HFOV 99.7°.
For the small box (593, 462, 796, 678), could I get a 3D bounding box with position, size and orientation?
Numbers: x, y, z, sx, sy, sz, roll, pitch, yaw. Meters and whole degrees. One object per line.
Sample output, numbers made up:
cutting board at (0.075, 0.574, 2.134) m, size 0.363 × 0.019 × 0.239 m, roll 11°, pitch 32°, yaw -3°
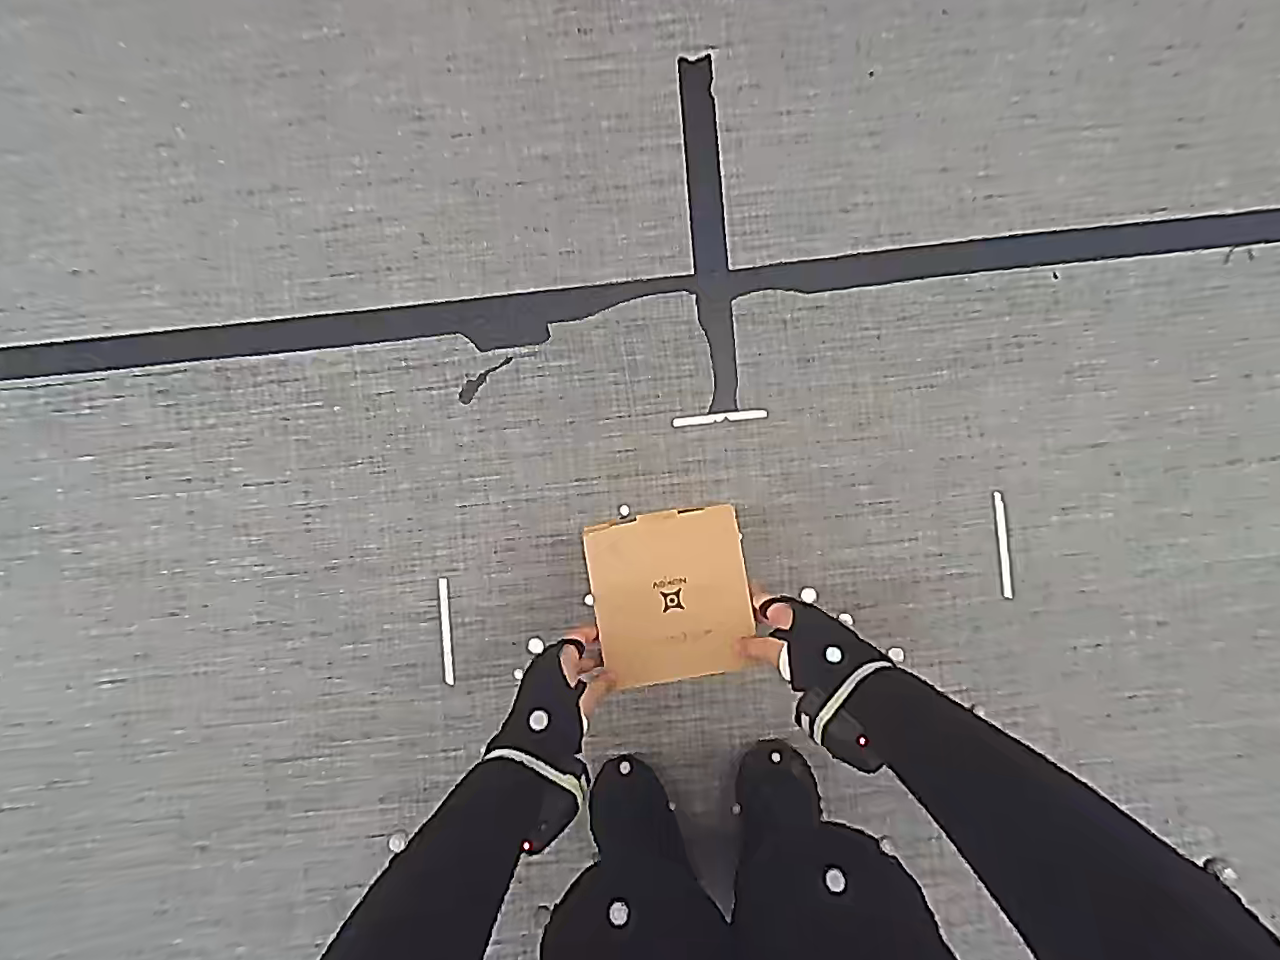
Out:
small box at (0.047, 0.084, 0.570) m, size 0.168 × 0.176 × 0.179 m, roll -10°, pitch 89°, yaw 0°
